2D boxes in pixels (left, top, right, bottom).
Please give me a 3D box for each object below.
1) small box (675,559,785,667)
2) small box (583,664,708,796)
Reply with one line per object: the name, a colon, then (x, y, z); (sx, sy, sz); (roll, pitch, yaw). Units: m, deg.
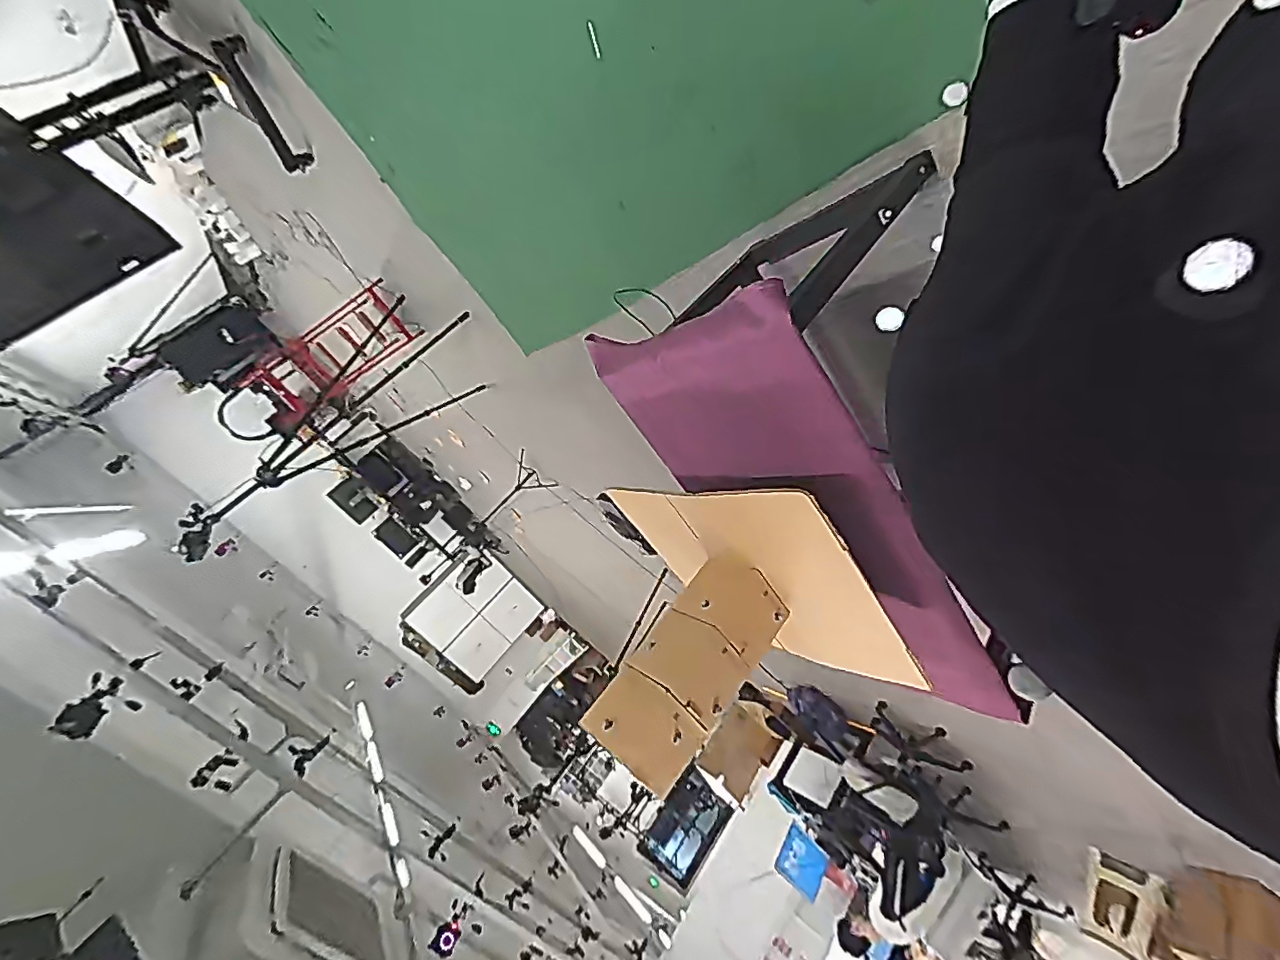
small box: (0.224, 0.311, 1.300); (0.168, 0.176, 0.179); (52, 157, -23)
small box: (0.014, 0.533, 1.181); (0.168, 0.176, 0.179); (52, 157, -22)
